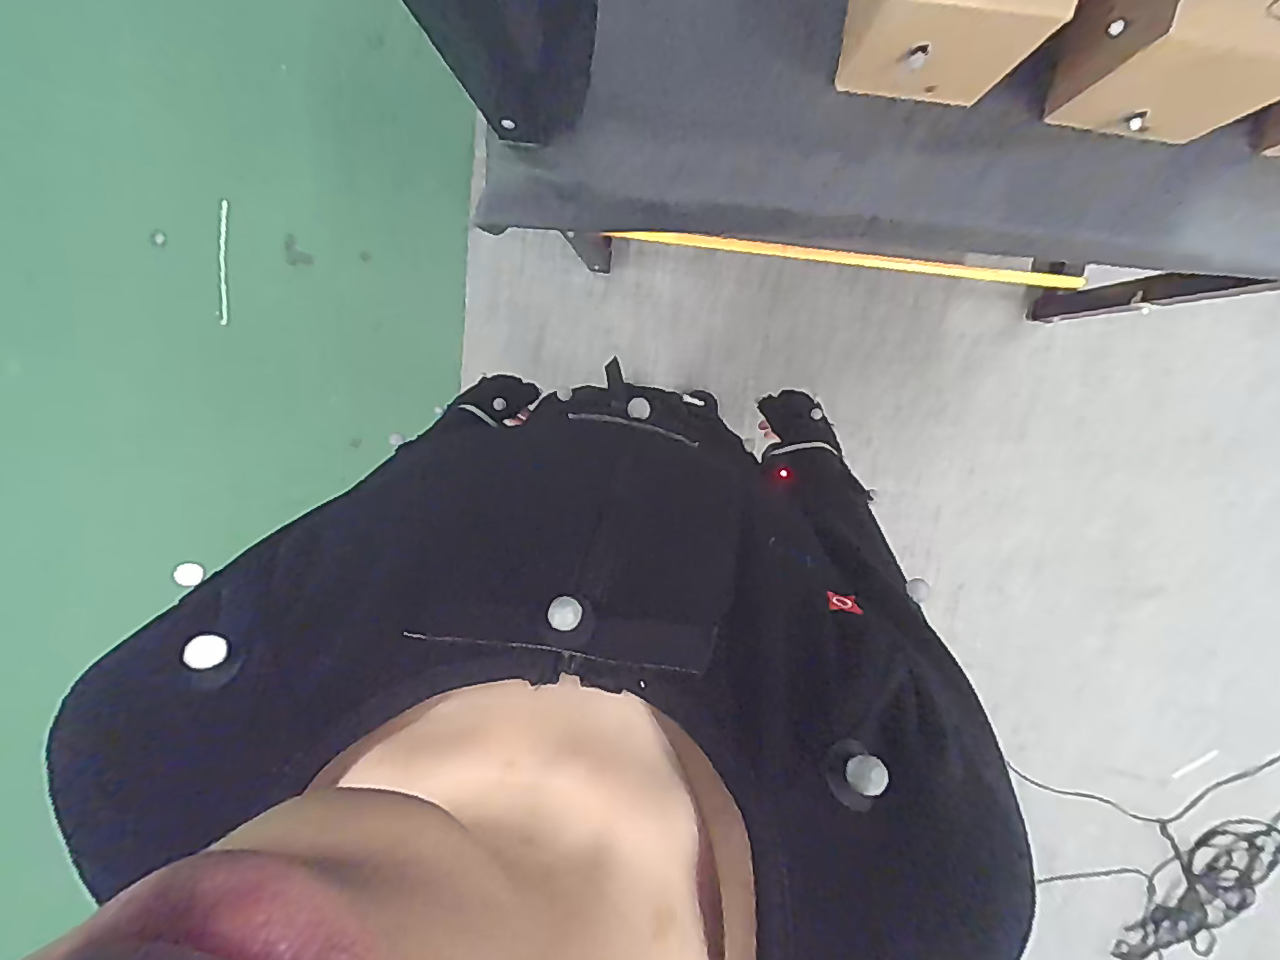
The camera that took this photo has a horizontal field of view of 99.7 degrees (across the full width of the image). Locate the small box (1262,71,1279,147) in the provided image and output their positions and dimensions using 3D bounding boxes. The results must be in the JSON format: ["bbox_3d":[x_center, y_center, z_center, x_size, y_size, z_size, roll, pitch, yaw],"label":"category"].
[{"bbox_3d":[0.806,-0.443,0.539,0.168,0.176,0.179,7,100,1],"label":"small box"}]

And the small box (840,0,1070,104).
[{"bbox_3d":[0.320,-0.523,0.552,0.168,0.176,0.179,8,101,1],"label":"small box"}]
